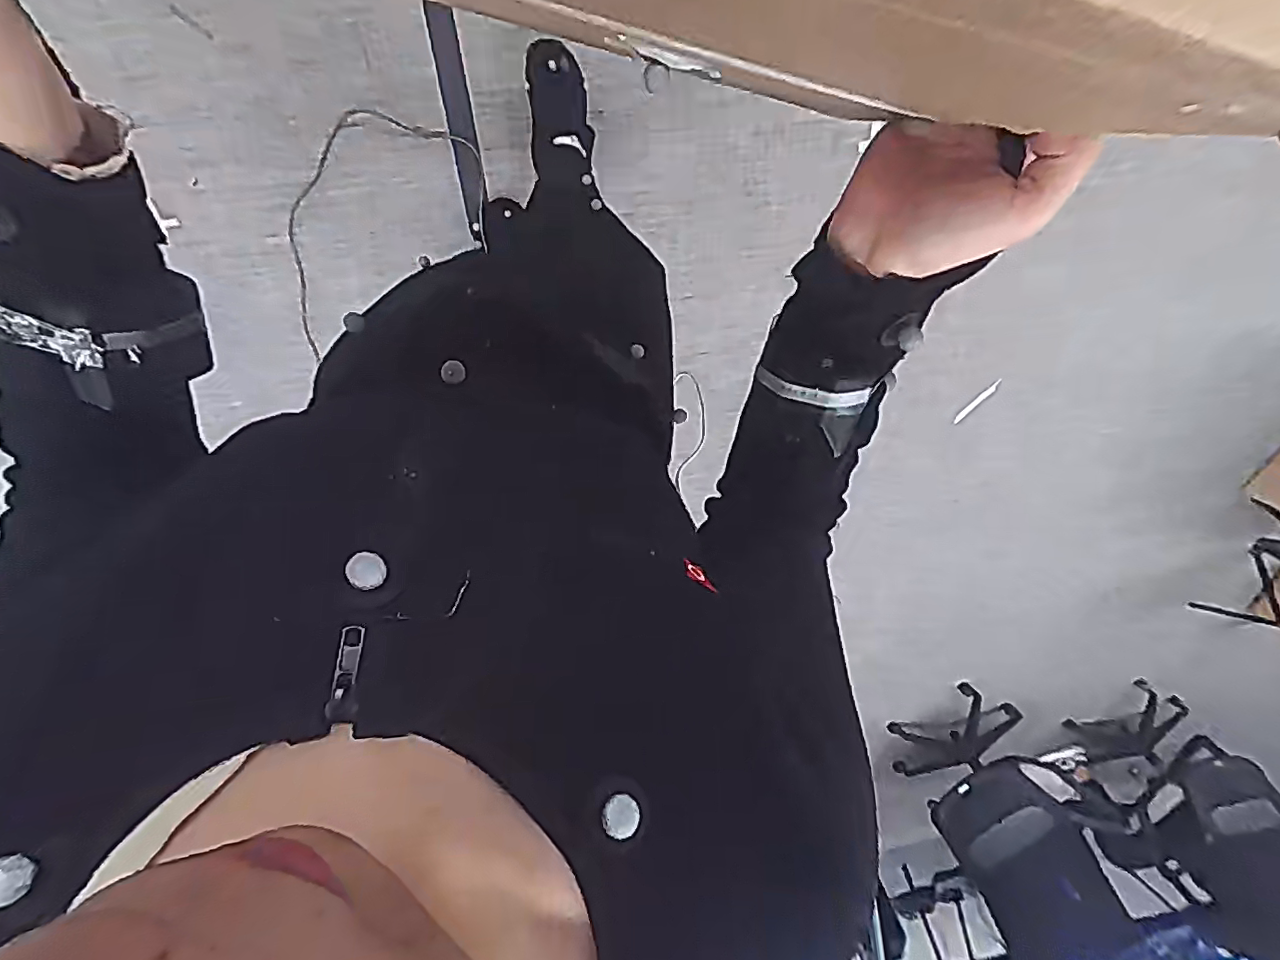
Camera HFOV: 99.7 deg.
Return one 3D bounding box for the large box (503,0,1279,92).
[{"bbox_3d":[-0.030,-0.312,0.104,0.408,0.320,0.320,6,125,-10],"label":"large box"}]
